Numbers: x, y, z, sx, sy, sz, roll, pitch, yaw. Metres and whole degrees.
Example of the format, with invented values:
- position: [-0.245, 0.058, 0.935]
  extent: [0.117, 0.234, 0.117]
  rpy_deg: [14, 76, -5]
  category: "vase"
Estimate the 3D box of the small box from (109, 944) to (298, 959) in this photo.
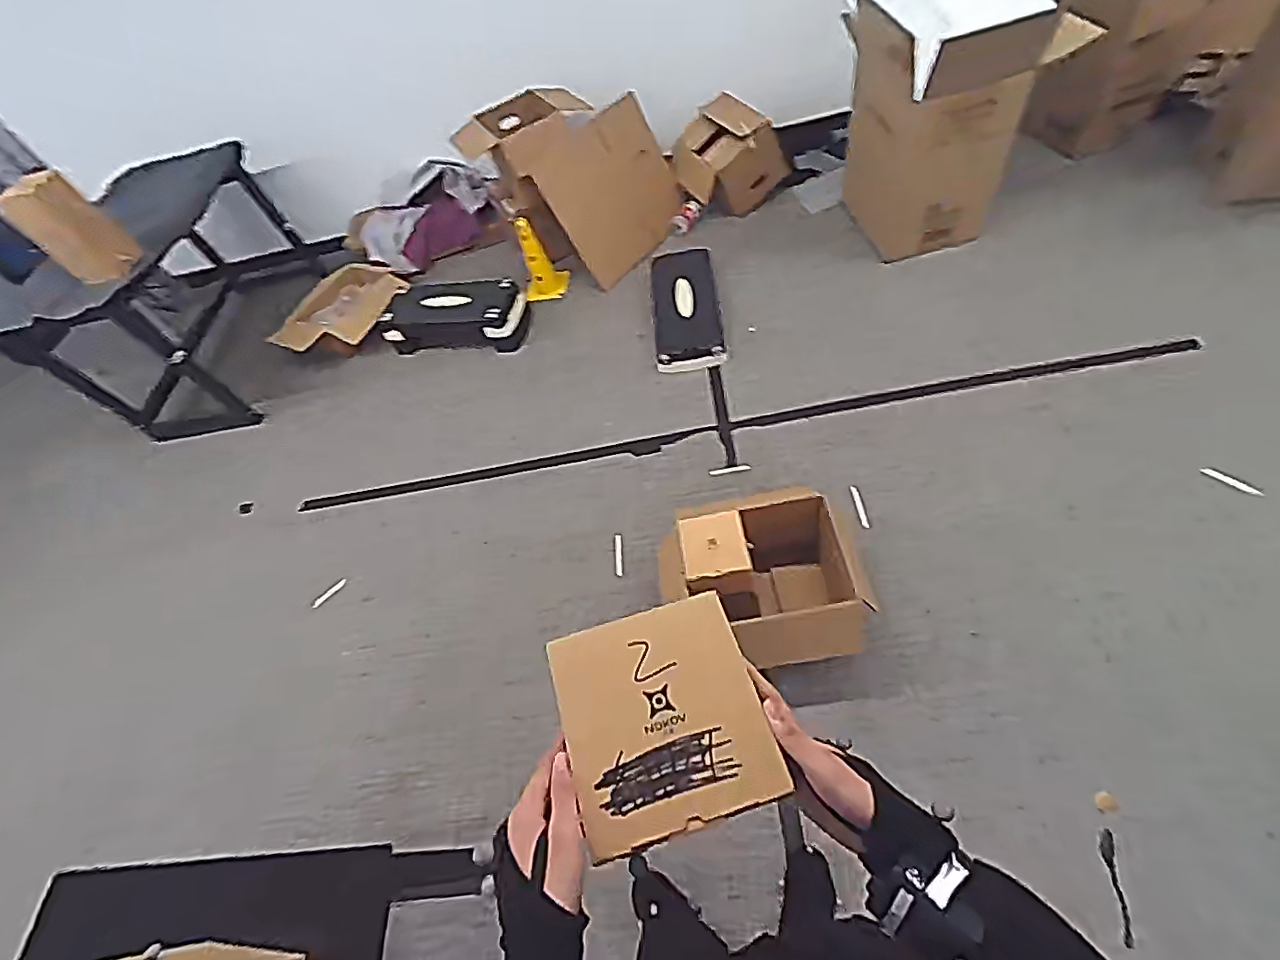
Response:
- position: [-0.572, 0.691, 0.658]
  extent: [0.179, 0.176, 0.168]
  rpy_deg: [-4, 58, 12]
  category: "small box"
